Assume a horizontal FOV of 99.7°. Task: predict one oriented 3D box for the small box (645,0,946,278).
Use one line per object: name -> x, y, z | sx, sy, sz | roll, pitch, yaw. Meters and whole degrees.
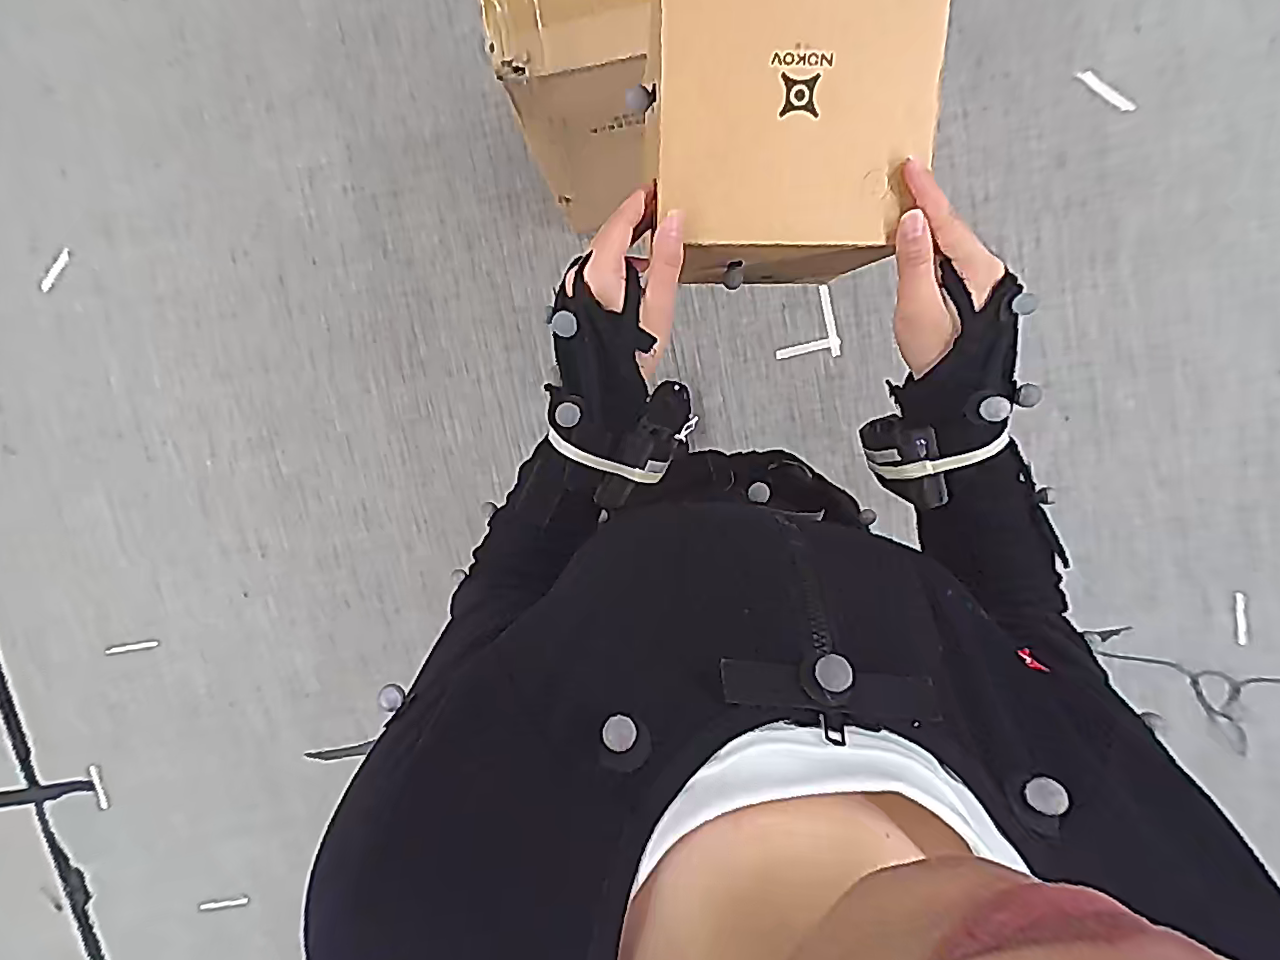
small box -> 0.089, -0.248, 0.388 | 0.168, 0.176, 0.179 | 0, 100, -1
